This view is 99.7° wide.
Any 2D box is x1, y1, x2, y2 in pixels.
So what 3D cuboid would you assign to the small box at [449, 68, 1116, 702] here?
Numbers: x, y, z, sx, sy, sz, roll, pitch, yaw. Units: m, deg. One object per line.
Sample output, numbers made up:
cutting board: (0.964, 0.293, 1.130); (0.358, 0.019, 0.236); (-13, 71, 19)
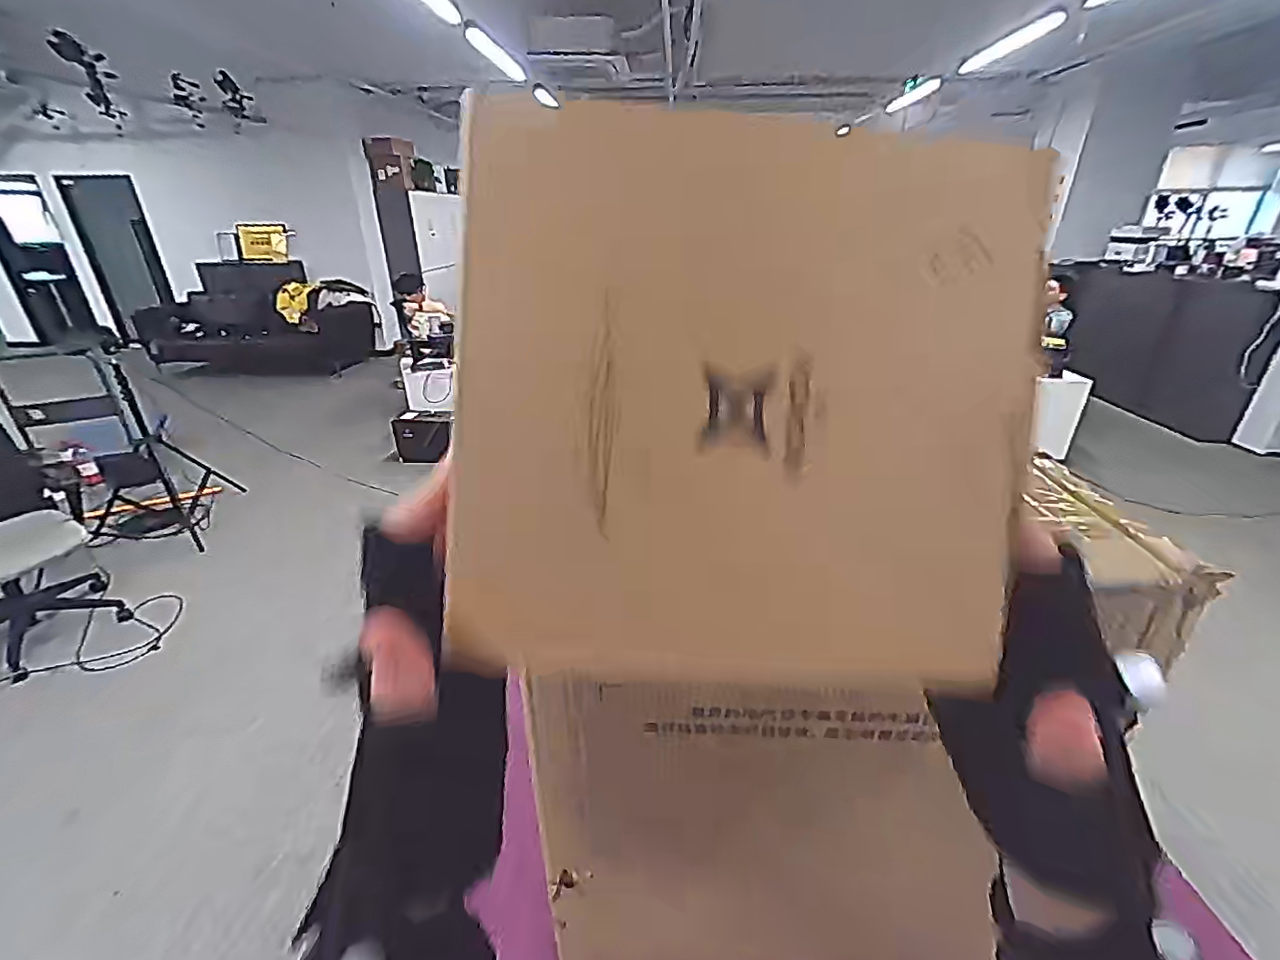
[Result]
small box: (0.035, -0.028, 0.230); (0.179, 0.168, 0.176); (4, 5, -1)
